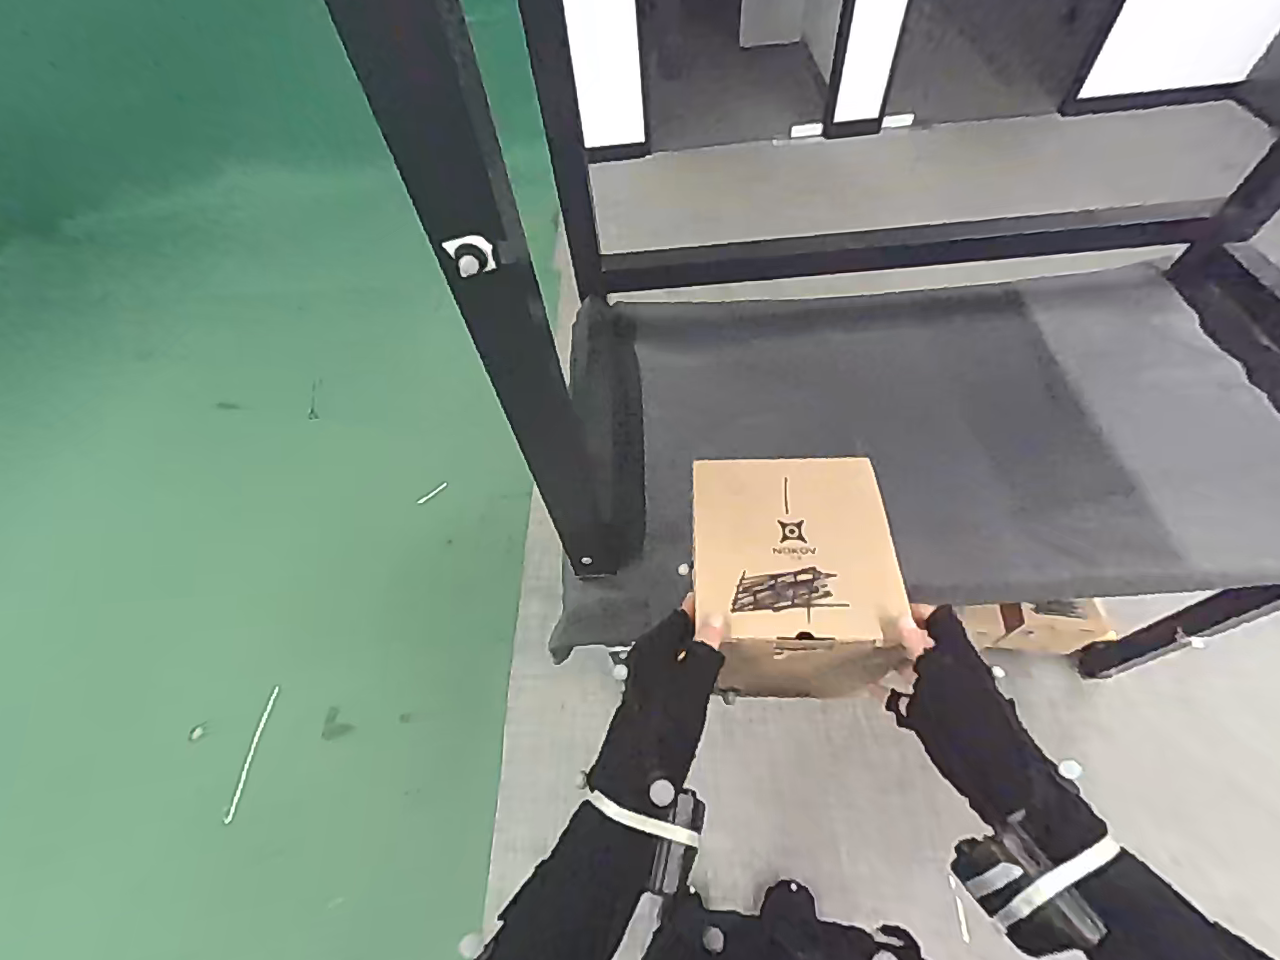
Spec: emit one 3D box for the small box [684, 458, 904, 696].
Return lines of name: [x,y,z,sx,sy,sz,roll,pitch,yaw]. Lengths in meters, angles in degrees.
small box: [0.128,0.098,0.519,0.168,0.176,0.179,0,54,6]
